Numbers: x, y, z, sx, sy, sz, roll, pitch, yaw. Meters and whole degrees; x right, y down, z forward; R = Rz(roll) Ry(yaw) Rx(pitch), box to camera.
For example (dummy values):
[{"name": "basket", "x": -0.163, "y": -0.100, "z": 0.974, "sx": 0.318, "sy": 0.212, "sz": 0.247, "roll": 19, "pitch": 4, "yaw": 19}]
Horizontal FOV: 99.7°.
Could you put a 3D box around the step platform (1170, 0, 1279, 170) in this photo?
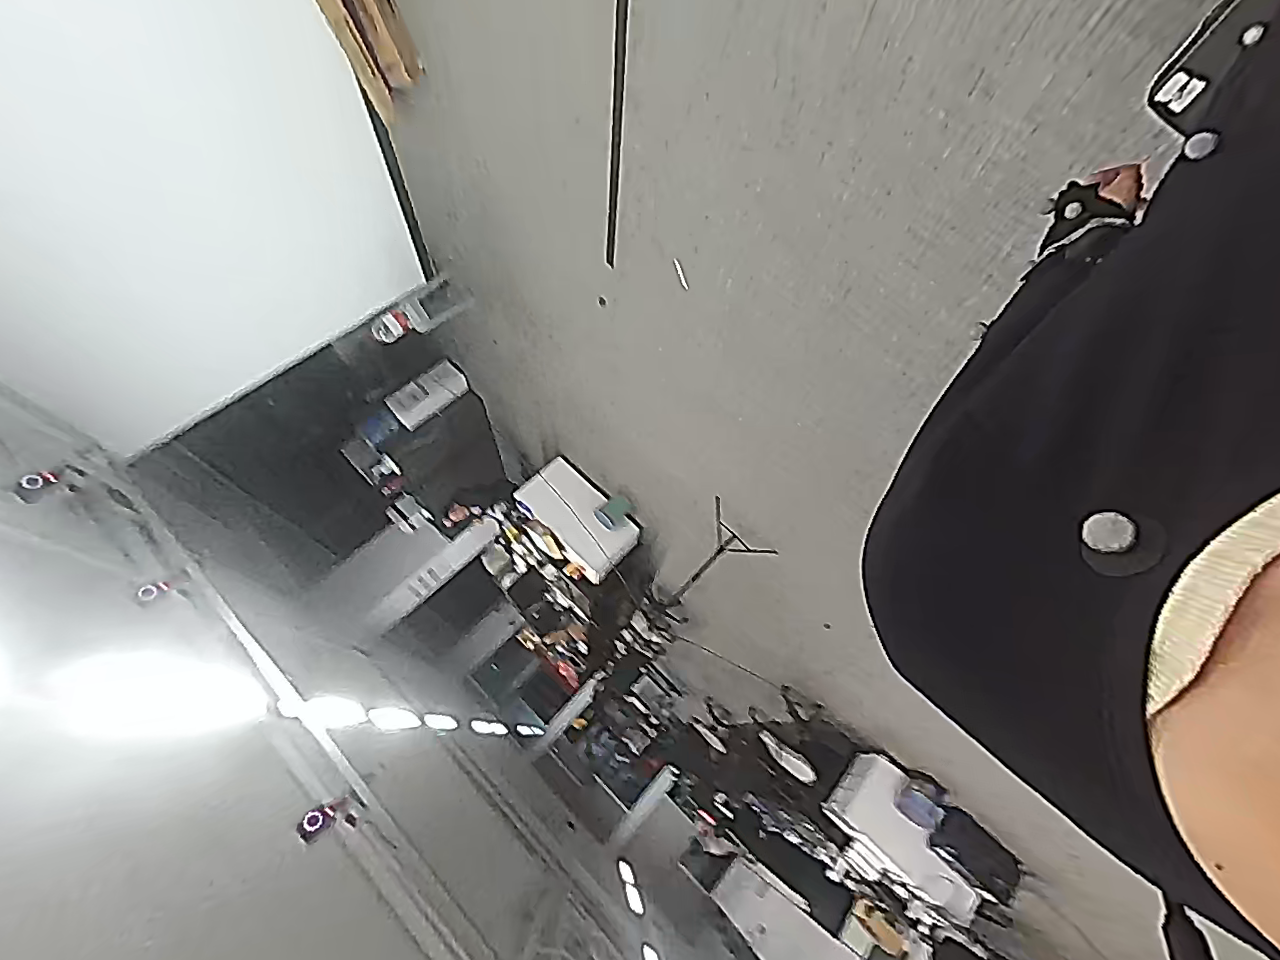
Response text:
[{"name": "step platform", "x": 1.071, "y": -0.738, "z": 0.625, "sx": 0.286, "sy": 0.204, "sz": 0.684, "roll": 44, "pitch": 156, "yaw": 10}]
